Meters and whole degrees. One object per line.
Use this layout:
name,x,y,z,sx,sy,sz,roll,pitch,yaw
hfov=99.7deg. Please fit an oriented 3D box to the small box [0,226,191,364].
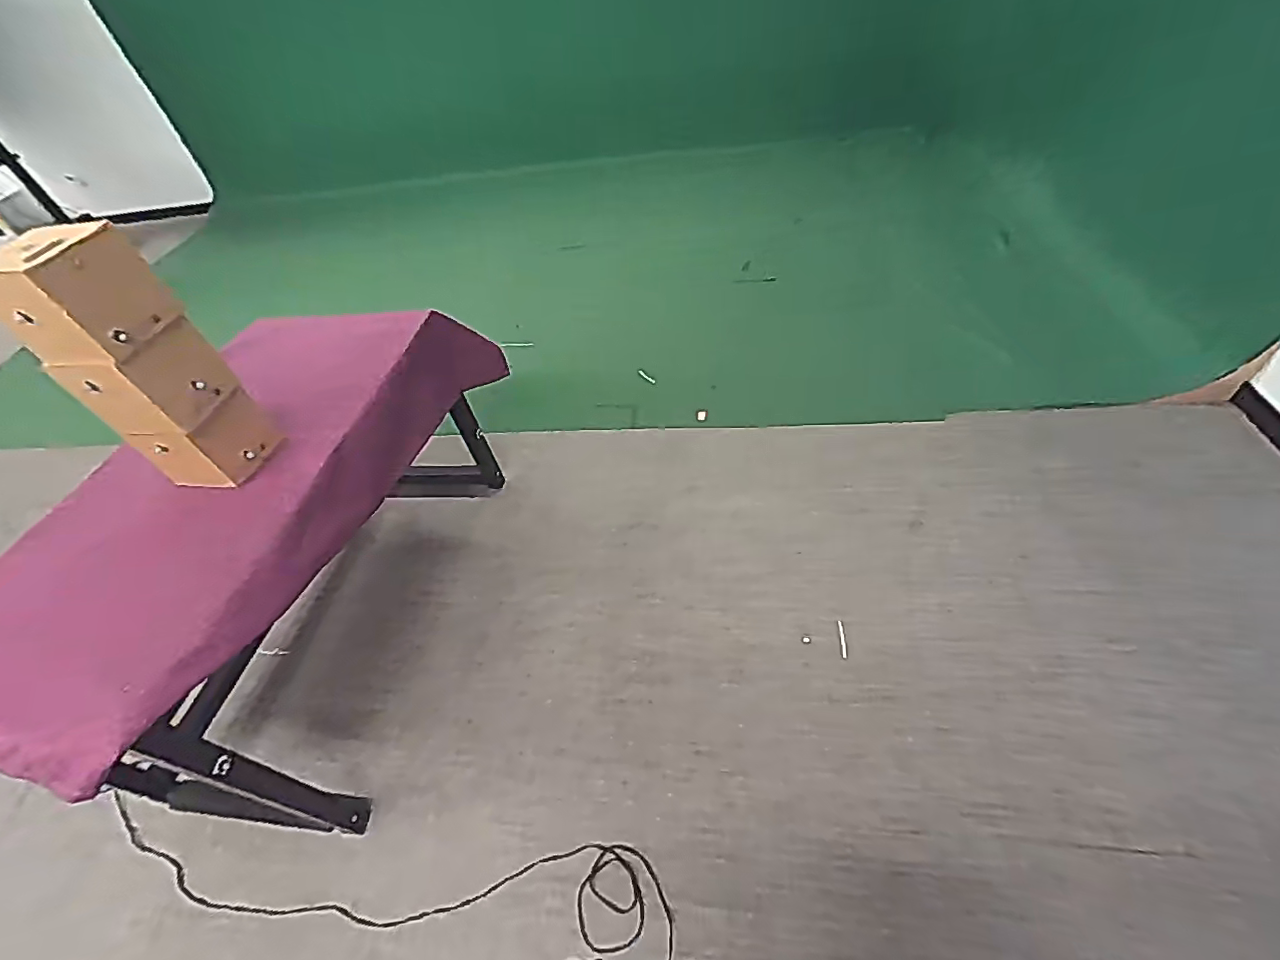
small box,-0.948,-0.314,0.935,0.179,0.176,0.168,2,49,14

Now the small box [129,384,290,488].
small box,-0.926,-0.098,1.181,0.179,0.176,0.168,4,50,13

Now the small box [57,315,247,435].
small box,-0.935,-0.203,1.055,0.179,0.176,0.168,2,50,13
